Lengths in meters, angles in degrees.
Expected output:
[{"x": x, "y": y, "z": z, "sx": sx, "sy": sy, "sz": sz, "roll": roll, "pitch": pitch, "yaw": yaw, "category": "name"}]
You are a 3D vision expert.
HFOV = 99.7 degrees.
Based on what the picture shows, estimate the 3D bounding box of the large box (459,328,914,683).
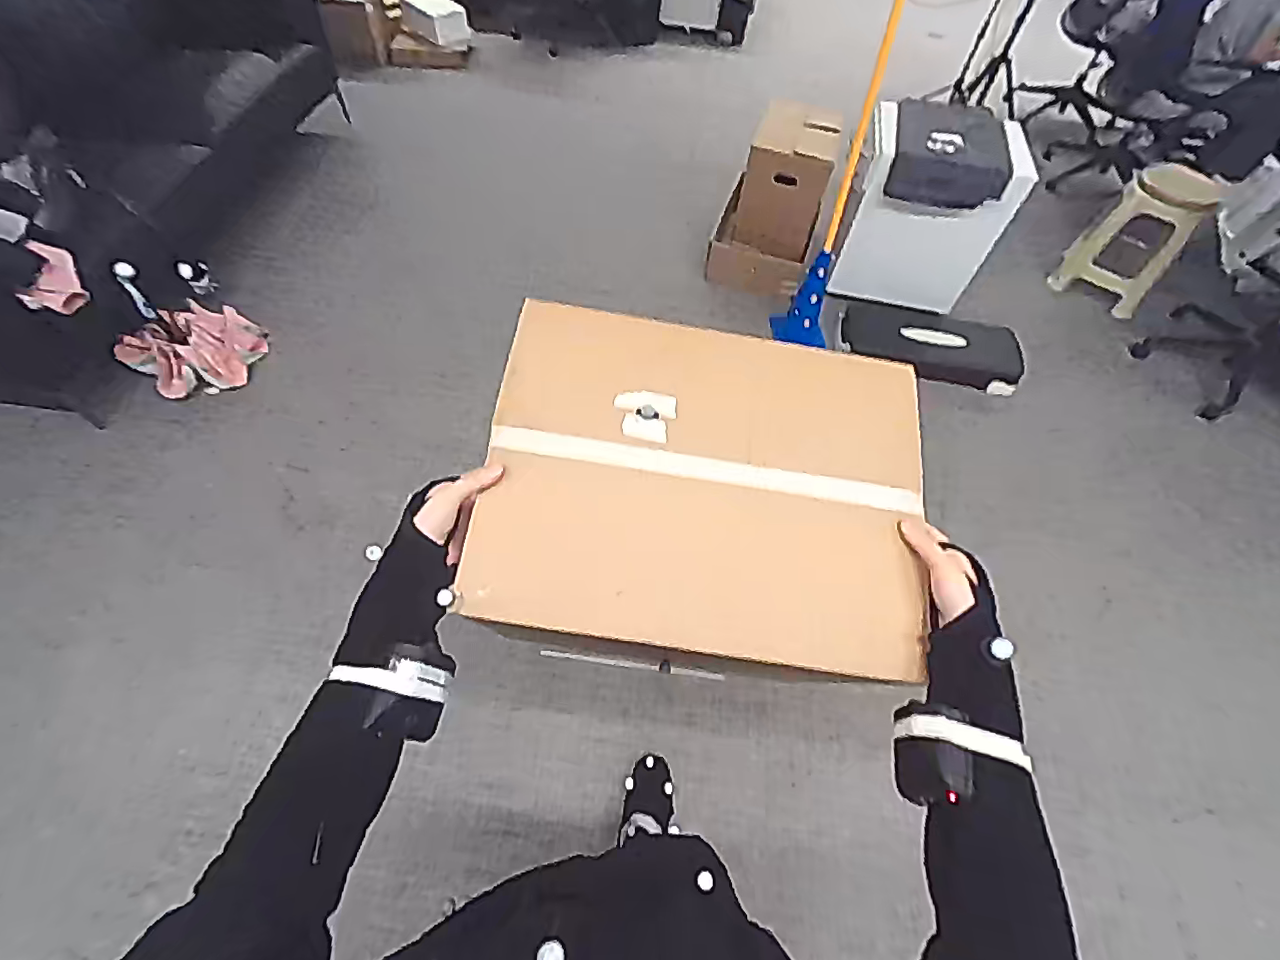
[{"x": 0.050, "y": 0.059, "z": 0.653, "sx": 0.408, "sy": 0.320, "sz": 0.320, "roll": 8, "pitch": 68, "yaw": -2, "category": "large box"}]
